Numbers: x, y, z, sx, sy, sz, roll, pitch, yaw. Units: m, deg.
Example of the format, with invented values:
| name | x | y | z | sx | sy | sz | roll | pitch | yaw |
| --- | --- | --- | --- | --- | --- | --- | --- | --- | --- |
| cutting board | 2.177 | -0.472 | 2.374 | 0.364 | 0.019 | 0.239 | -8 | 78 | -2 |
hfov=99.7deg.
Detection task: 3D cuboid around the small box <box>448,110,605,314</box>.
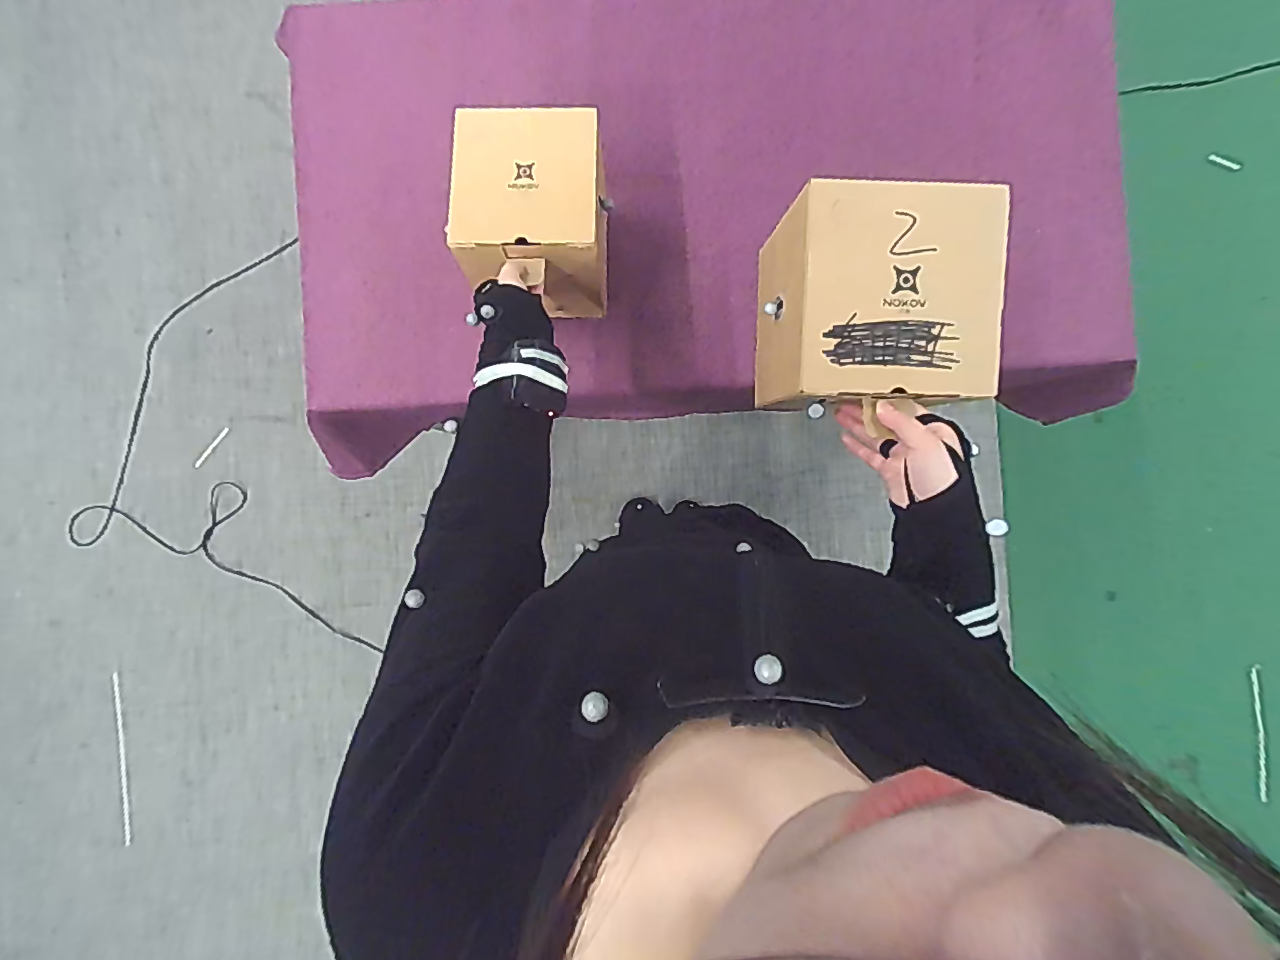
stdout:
| name | x | y | z | sx | sy | sz | roll | pitch | yaw |
| --- | --- | --- | --- | --- | --- | --- | --- | --- | --- |
| small box | -0.134 | -0.335 | 0.698 | 0.168 | 0.176 | 0.179 | 0 | 81 | 0 |
